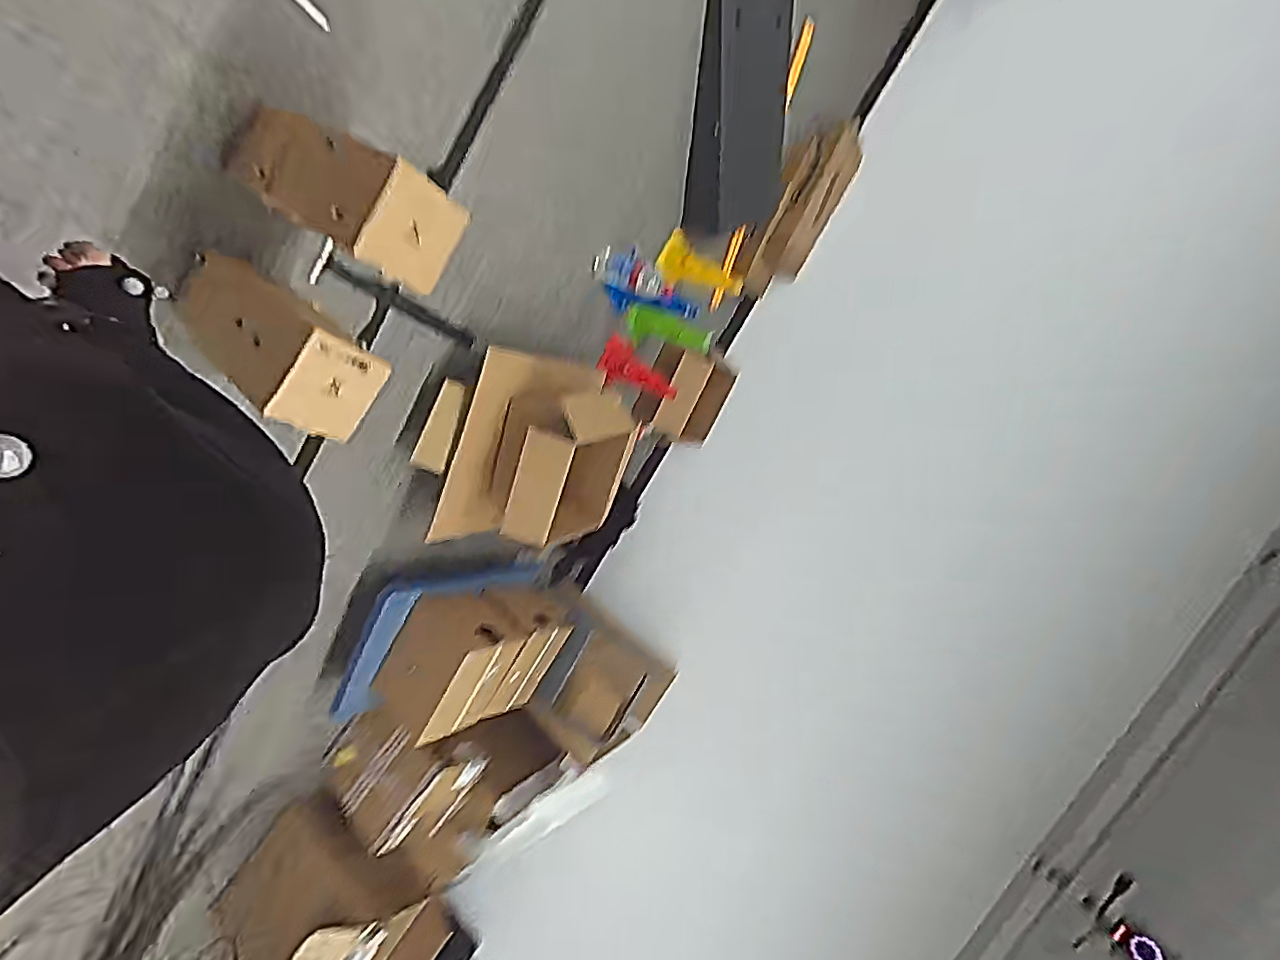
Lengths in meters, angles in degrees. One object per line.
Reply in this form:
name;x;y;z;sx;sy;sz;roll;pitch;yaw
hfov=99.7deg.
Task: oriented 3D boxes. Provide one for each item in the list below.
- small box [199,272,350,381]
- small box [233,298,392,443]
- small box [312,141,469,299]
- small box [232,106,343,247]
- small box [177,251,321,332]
small box;-0.738;-0.286;1.089;0.179;0.176;0.168;-57;154;4
small box;-0.617;-0.203;1.015;0.179;0.176;0.168;-55;154;1
small box;-0.457;-0.470;0.985;0.179;0.176;0.168;-59;156;6
small box;-0.703;-0.633;1.127;0.179;0.176;0.168;-58;155;5
small box;-0.851;-0.371;1.175;0.168;0.176;0.179;-58;155;6
